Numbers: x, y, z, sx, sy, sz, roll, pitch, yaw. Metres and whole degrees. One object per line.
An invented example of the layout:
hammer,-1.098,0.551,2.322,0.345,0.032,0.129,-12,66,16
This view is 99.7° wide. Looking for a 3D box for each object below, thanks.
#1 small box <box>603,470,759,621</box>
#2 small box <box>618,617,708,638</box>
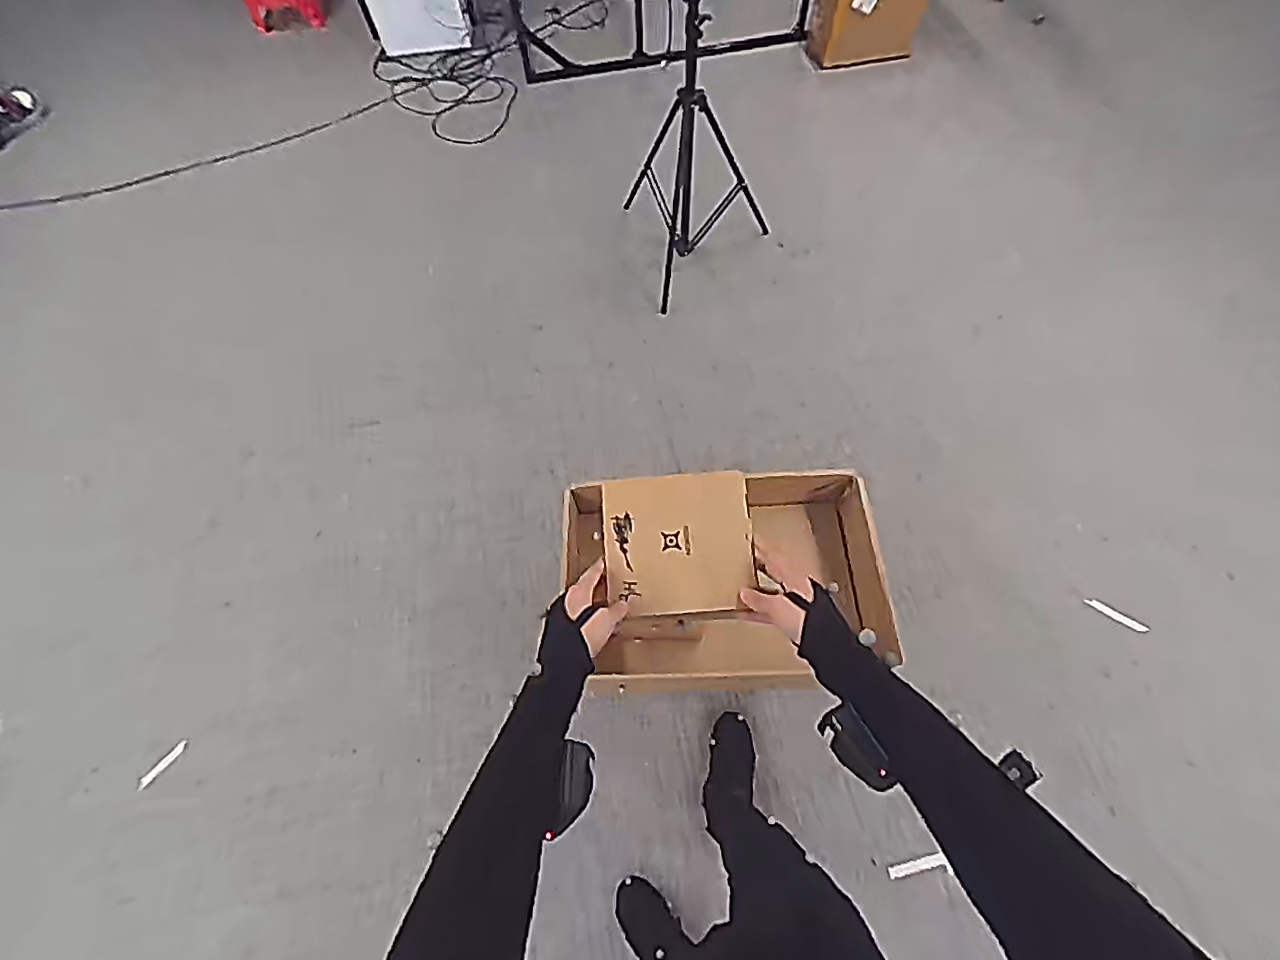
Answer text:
small box,0.045,0.093,0.710,0.179,0.176,0.168,-4,72,-1
small box,0.047,0.213,1.077,0.168,0.176,0.179,0,63,2
